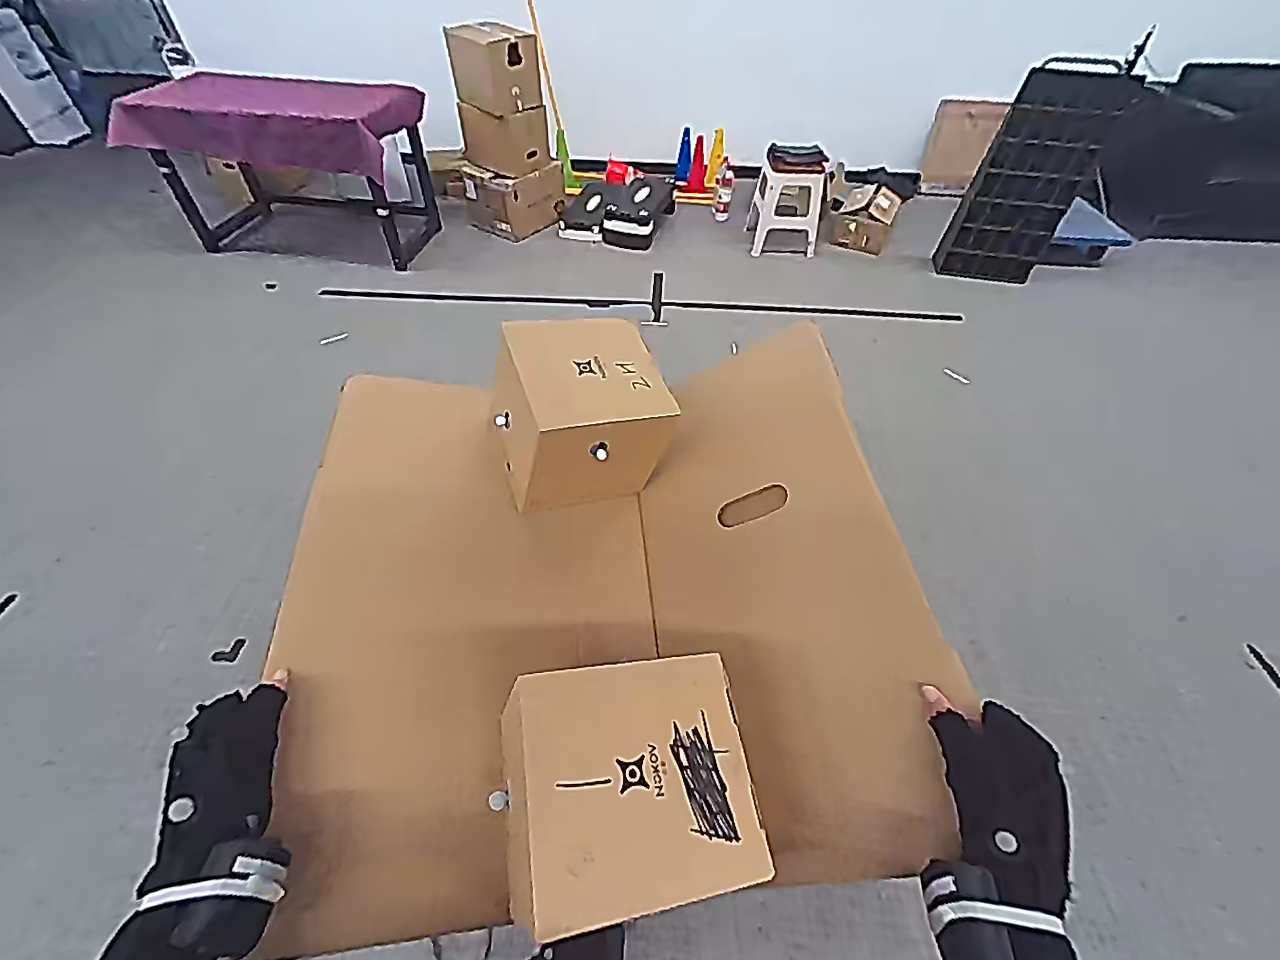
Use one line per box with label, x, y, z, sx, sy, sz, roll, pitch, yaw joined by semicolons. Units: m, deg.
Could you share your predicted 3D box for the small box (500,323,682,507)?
small box;-0.076;-0.080;0.694;0.179;0.176;0.168;-9;60;-26
